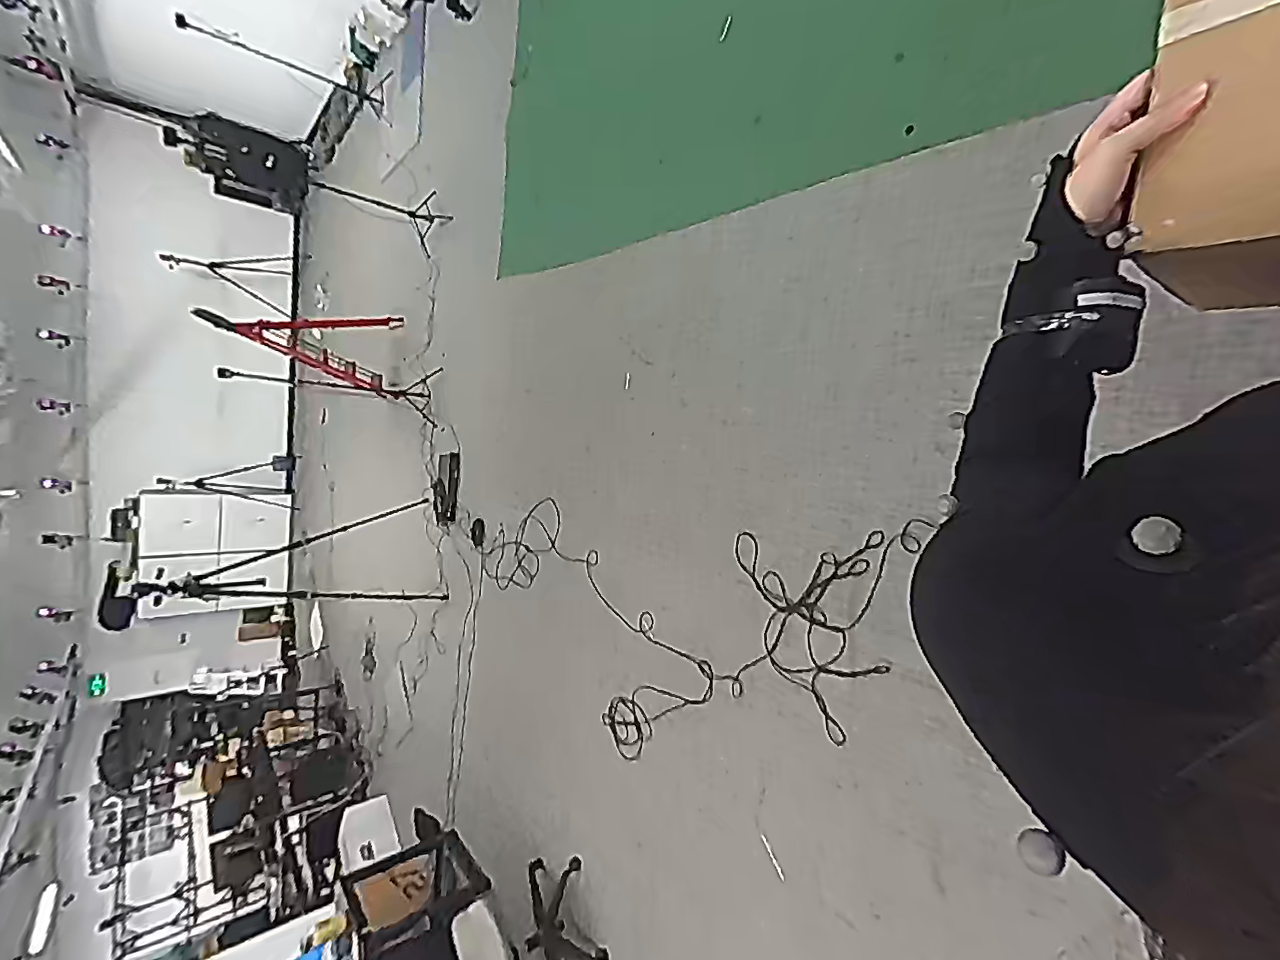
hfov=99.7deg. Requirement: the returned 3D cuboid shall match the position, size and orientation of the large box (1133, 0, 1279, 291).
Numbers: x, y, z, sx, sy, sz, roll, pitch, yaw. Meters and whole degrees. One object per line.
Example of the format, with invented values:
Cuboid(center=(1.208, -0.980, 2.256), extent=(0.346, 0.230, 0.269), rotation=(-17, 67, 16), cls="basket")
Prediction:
Cuboid(center=(0.635, -0.317, 0.334), extent=(0.408, 0.320, 0.320), rotation=(15, 105, 53), cls="large box")
